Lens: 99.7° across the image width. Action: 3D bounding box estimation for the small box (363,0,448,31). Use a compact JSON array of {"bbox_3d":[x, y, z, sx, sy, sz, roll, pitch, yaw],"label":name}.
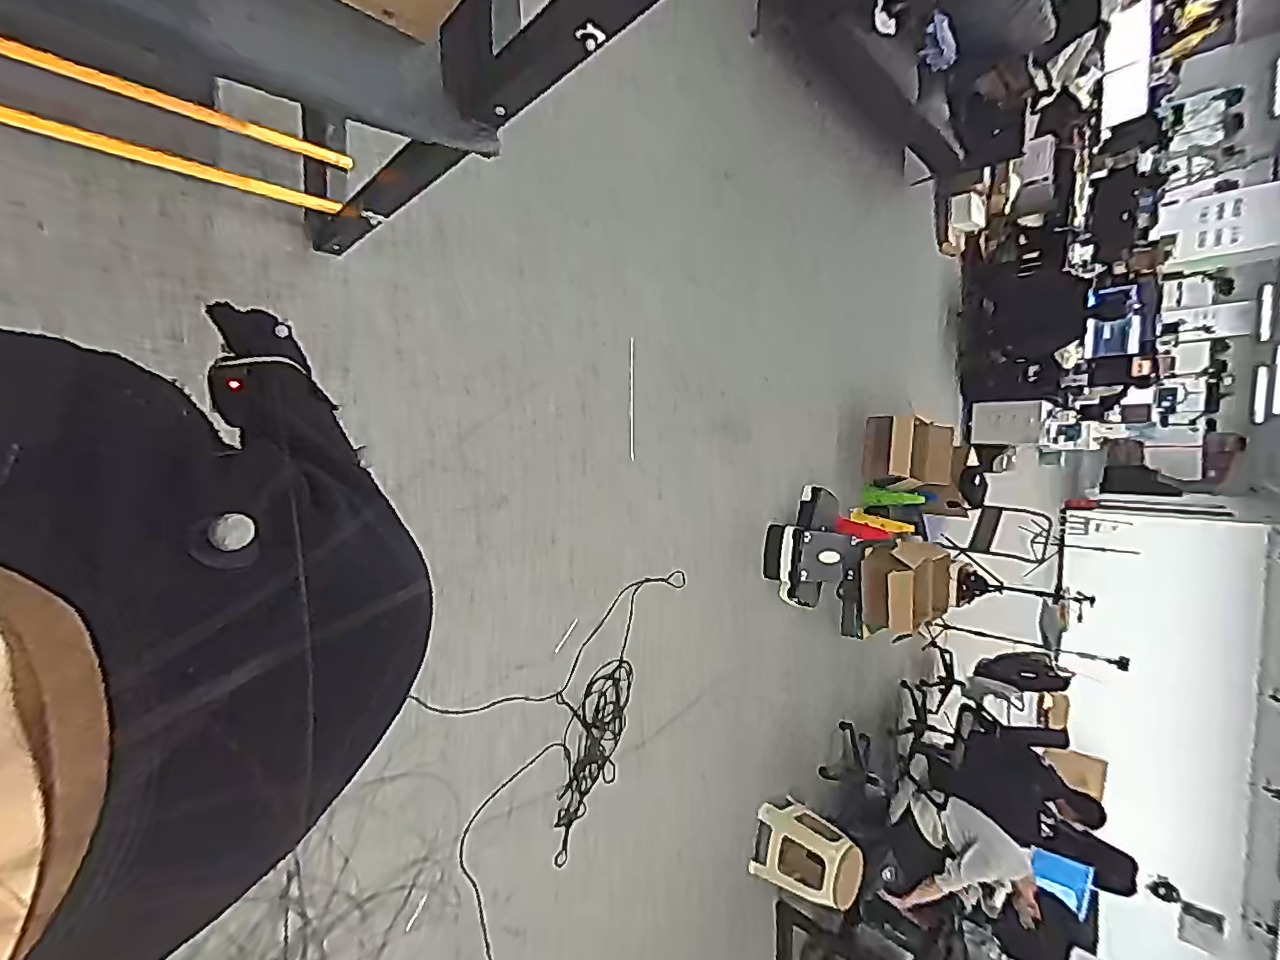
[{"bbox_3d":[-0.310,-0.707,0.654,0.168,0.176,0.179,-6,96,-45],"label":"small box"}]
